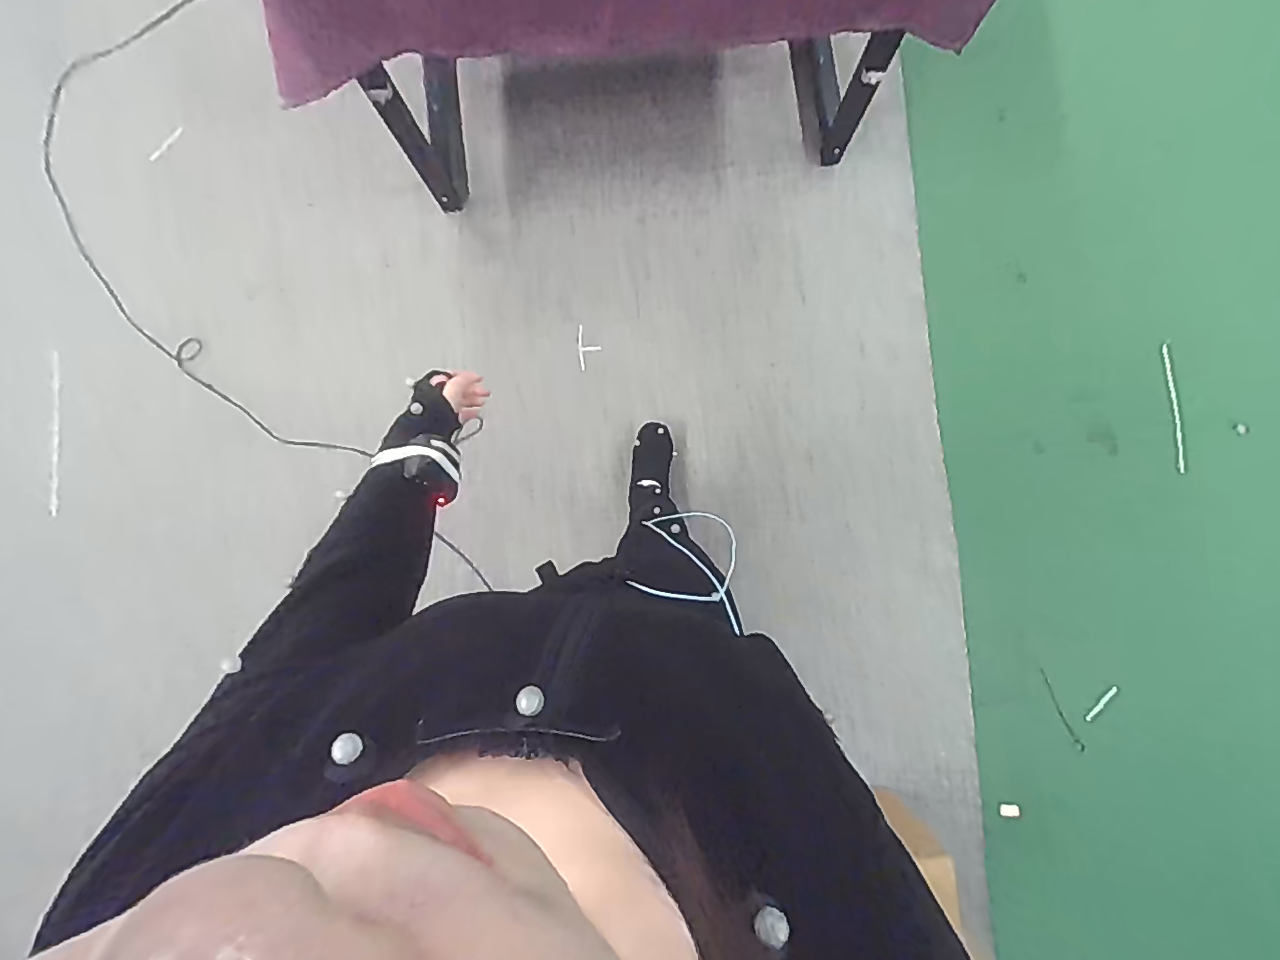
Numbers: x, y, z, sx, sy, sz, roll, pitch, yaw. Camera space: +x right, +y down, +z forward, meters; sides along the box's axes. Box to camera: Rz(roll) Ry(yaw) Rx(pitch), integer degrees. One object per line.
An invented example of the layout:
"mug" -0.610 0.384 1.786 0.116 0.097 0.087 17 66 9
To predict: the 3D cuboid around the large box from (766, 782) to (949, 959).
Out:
"large box" 0.504 1.006 1.283 0.320 0.320 0.408 -5 87 0
